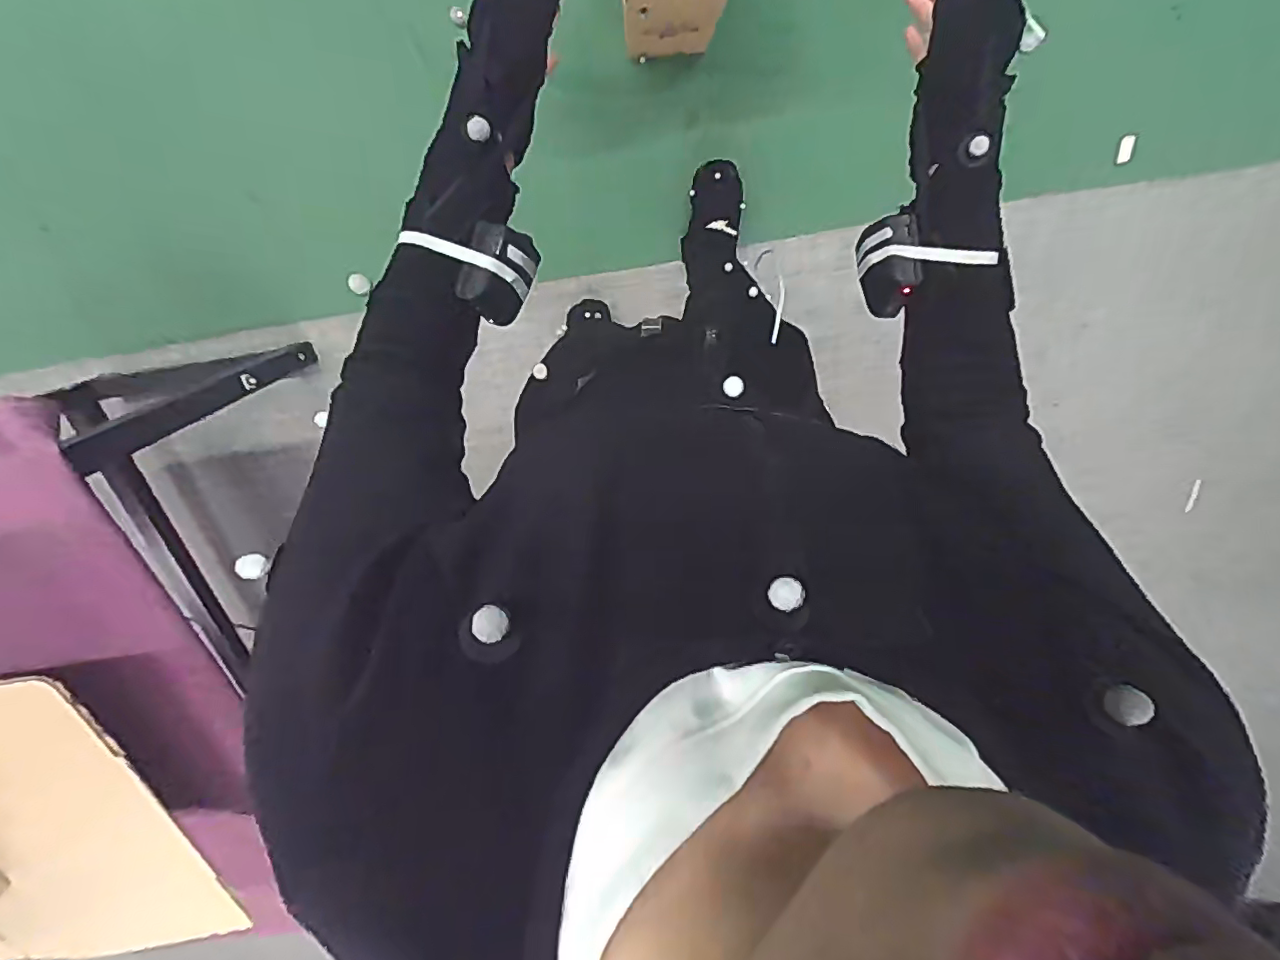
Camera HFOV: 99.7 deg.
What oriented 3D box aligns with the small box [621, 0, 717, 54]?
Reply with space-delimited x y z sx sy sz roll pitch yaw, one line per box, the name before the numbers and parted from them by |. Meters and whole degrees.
small box | 0.047 -0.911 0.995 0.168 0.176 0.179 -7 118 2
